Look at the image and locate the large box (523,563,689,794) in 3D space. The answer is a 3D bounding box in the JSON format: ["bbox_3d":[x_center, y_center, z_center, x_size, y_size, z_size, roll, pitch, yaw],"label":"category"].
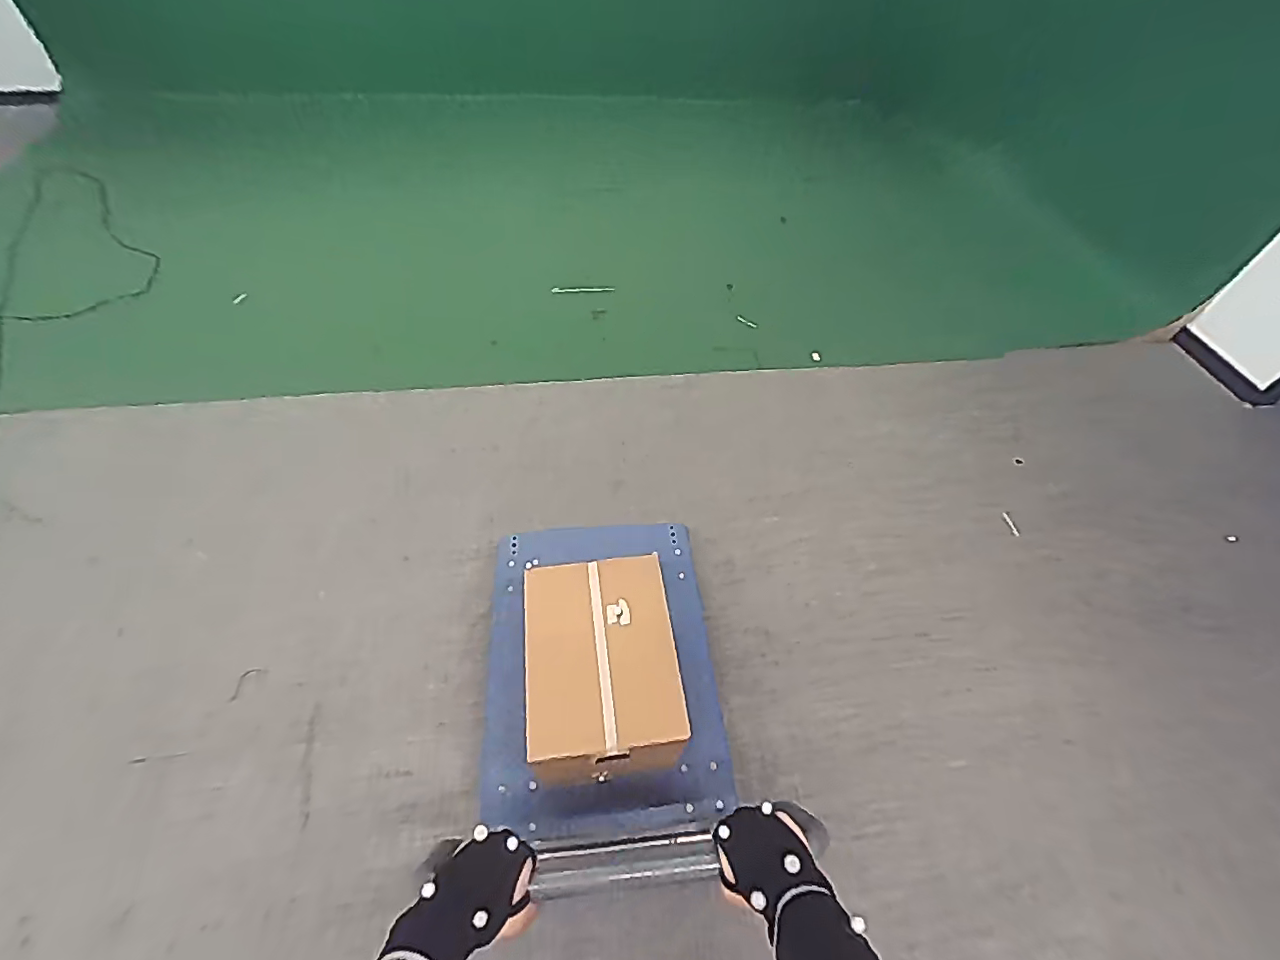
[{"bbox_3d":[-0.089,0.458,1.256,0.320,0.320,0.408,-5,52,-7],"label":"large box"}]
